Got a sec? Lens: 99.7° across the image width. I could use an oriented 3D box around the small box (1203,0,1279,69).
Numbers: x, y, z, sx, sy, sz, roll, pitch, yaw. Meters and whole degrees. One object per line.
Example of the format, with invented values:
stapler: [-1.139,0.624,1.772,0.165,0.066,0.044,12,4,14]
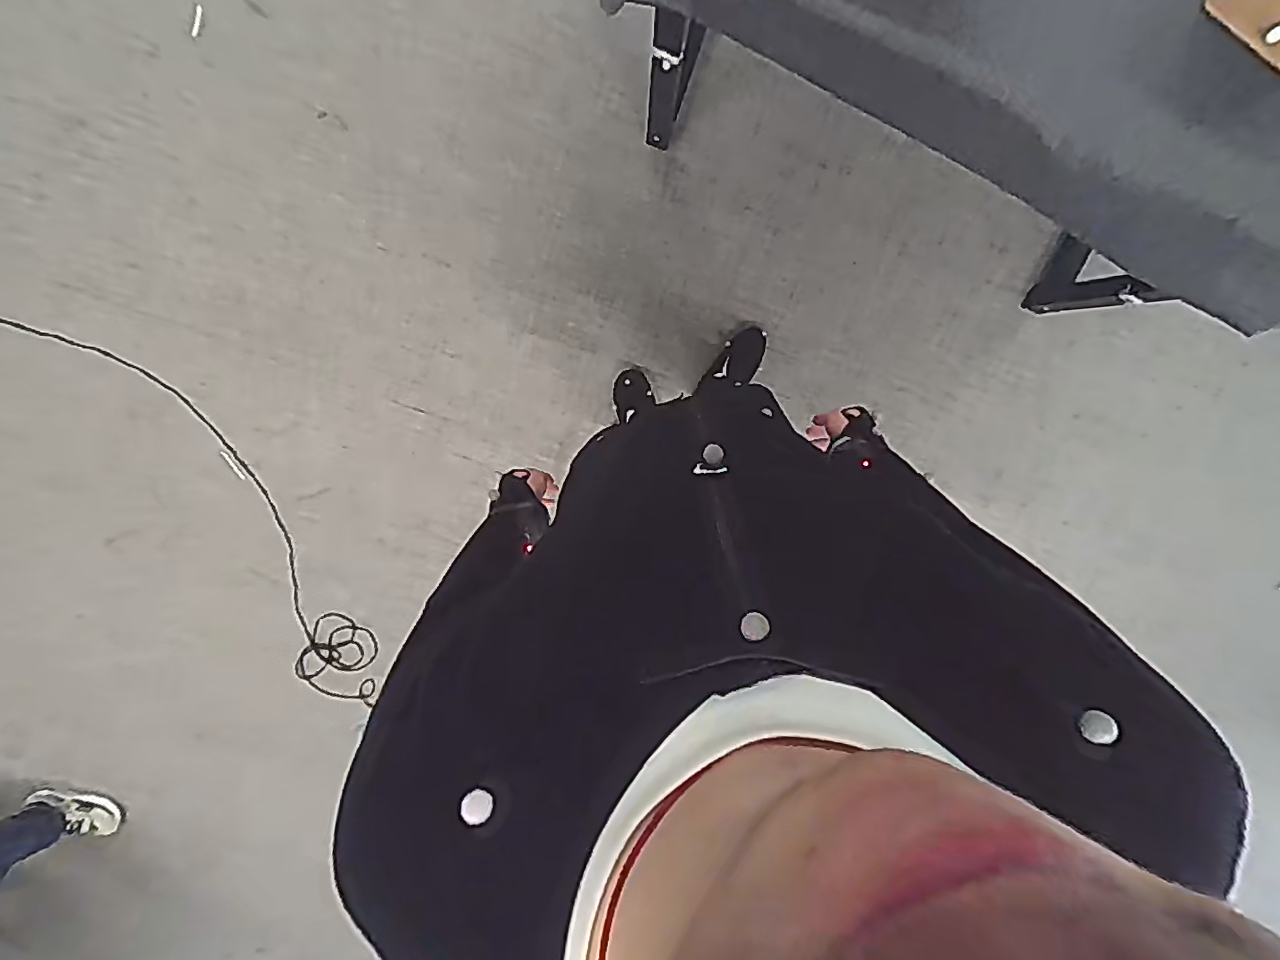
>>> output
small box: [0.849,-0.631,0.630,0.179,0.176,0.168,28,101,-8]
